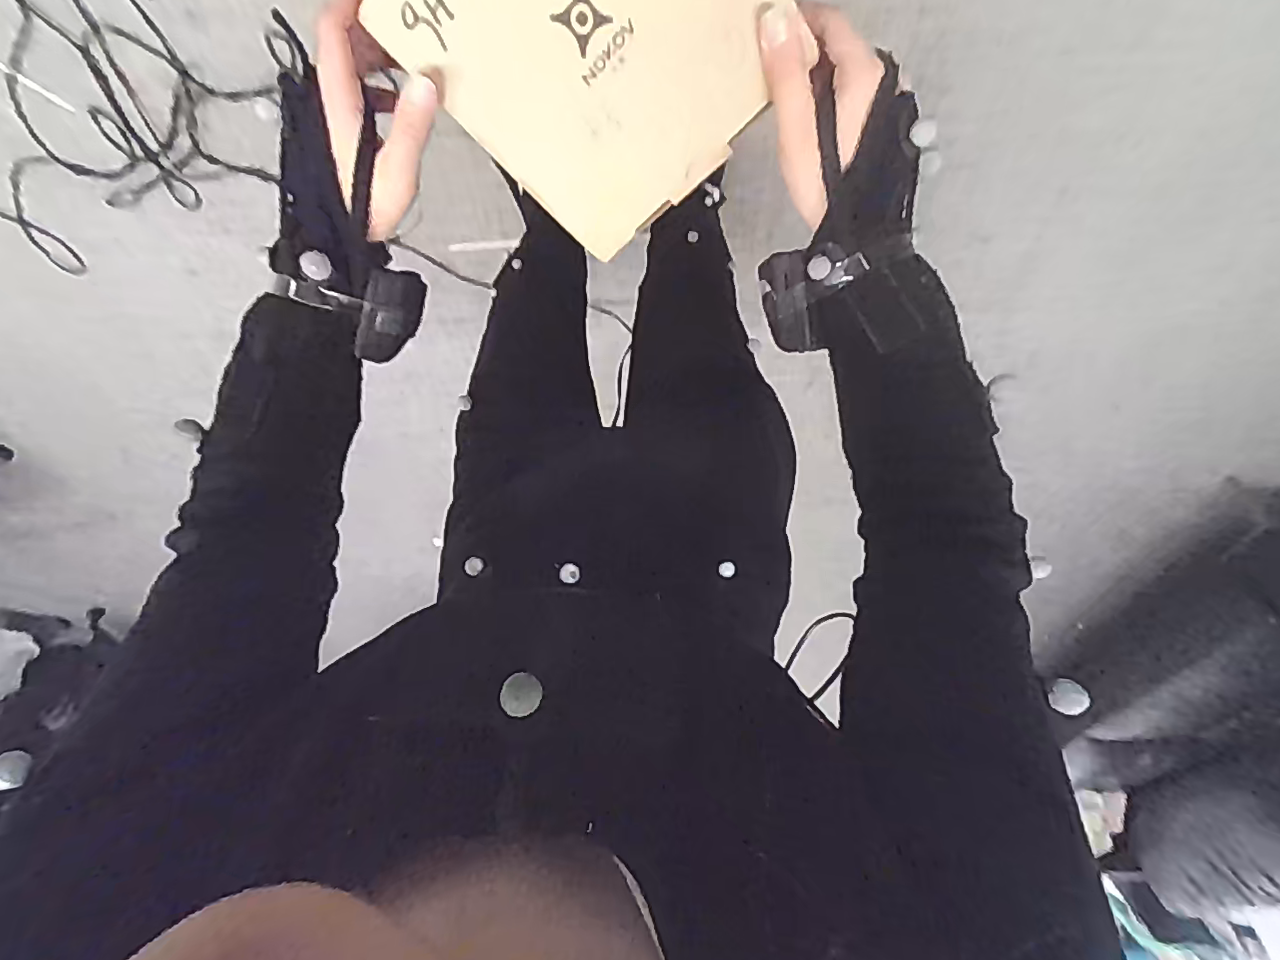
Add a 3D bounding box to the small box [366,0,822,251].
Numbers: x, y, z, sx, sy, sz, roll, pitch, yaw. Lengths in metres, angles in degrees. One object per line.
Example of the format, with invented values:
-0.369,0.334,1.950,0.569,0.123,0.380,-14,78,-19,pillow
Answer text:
-0.020,-0.289,0.328,0.168,0.176,0.179,-33,127,30,small box
